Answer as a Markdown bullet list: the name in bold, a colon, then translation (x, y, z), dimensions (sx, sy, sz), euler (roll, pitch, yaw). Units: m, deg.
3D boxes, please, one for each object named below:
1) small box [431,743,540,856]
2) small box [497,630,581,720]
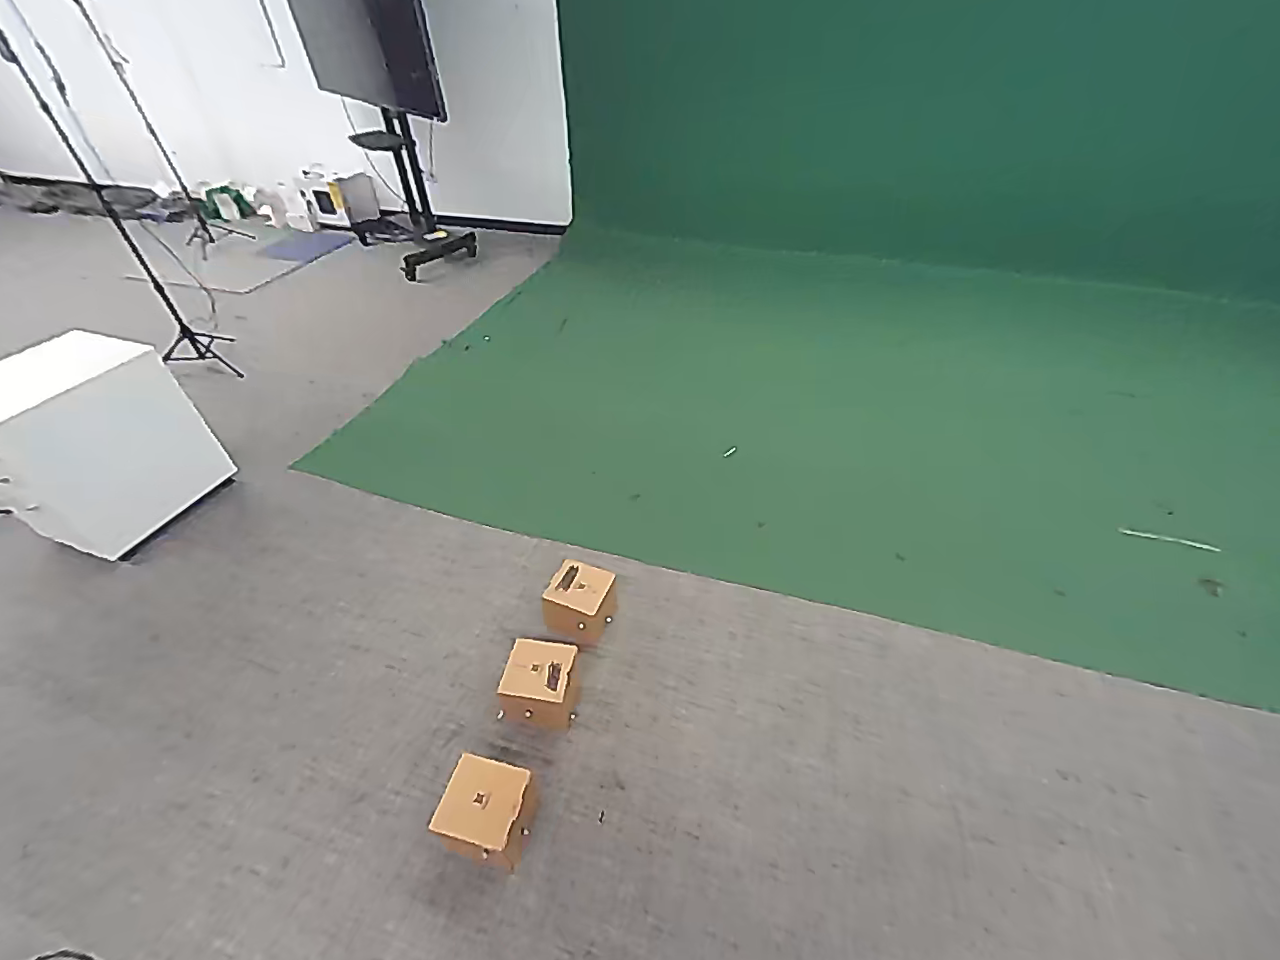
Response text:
- **small box**: translation (-0.349, 0.746, 1.259), dimensions (0.179, 0.176, 0.168), euler (10, 44, 10)
- **small box**: translation (-0.267, 0.538, 1.485), dimensions (0.179, 0.176, 0.168), euler (6, 42, 8)
